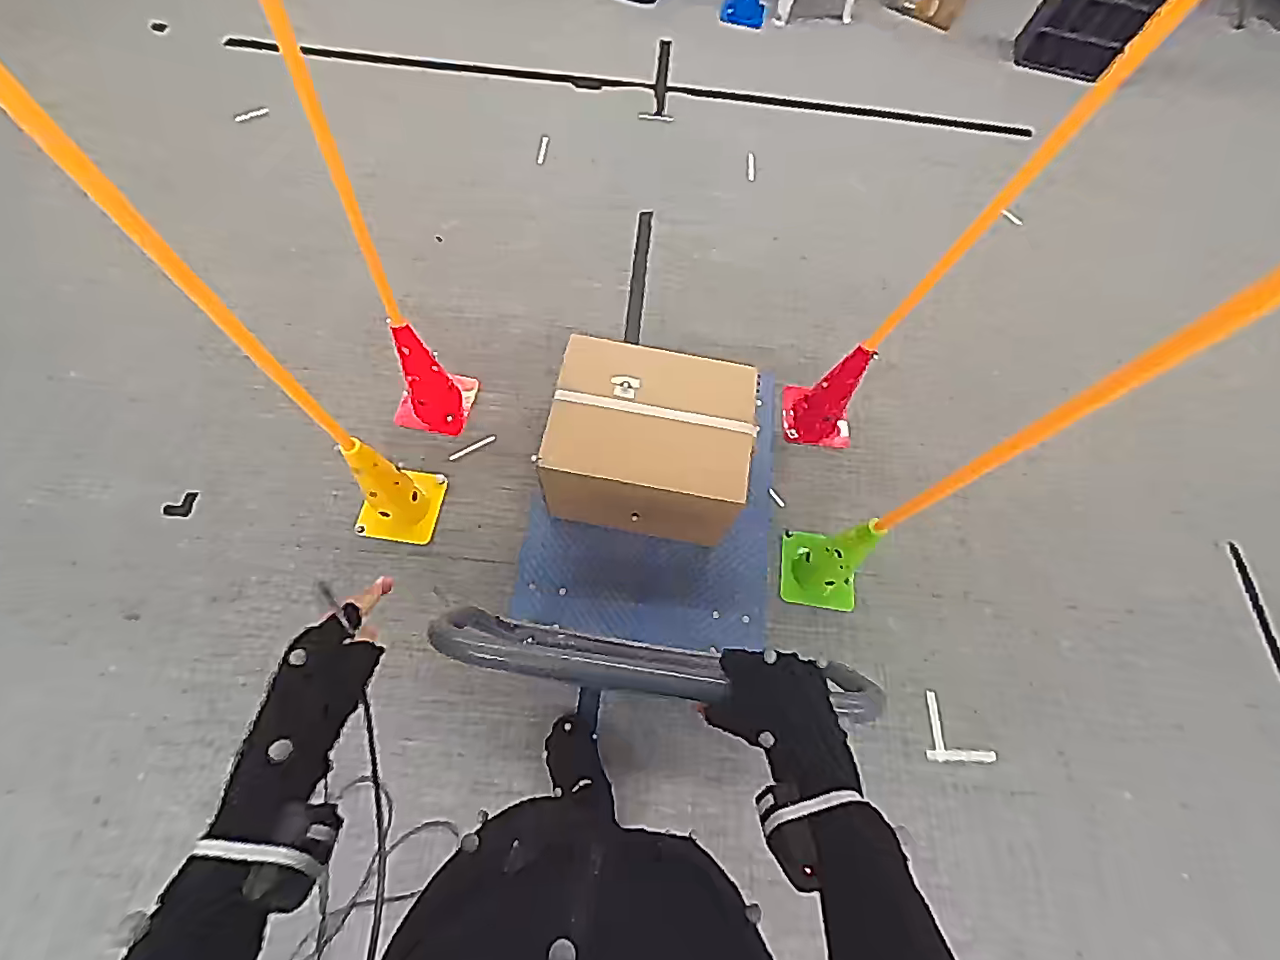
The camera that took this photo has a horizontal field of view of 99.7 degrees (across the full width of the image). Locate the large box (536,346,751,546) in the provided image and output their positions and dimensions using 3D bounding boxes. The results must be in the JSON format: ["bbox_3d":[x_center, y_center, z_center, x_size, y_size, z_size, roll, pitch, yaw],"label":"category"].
[{"bbox_3d":[0.013,-0.061,1.224,0.408,0.320,0.320,10,67,1],"label":"large box"}]

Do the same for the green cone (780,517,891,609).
[{"bbox_3d":[0.495,0.171,1.313,0.202,0.368,0.200,10,66,-1],"label":"green cone"}]

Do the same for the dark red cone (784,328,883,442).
[{"bbox_3d":[0.554,-0.276,1.493,0.201,0.394,0.202,6,67,-3],"label":"dark red cone"}]

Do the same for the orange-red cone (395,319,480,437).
[{"bbox_3d":[-0.579,-0.297,1.441,0.198,0.360,0.199,13,65,0],"label":"orange-red cone"}]
